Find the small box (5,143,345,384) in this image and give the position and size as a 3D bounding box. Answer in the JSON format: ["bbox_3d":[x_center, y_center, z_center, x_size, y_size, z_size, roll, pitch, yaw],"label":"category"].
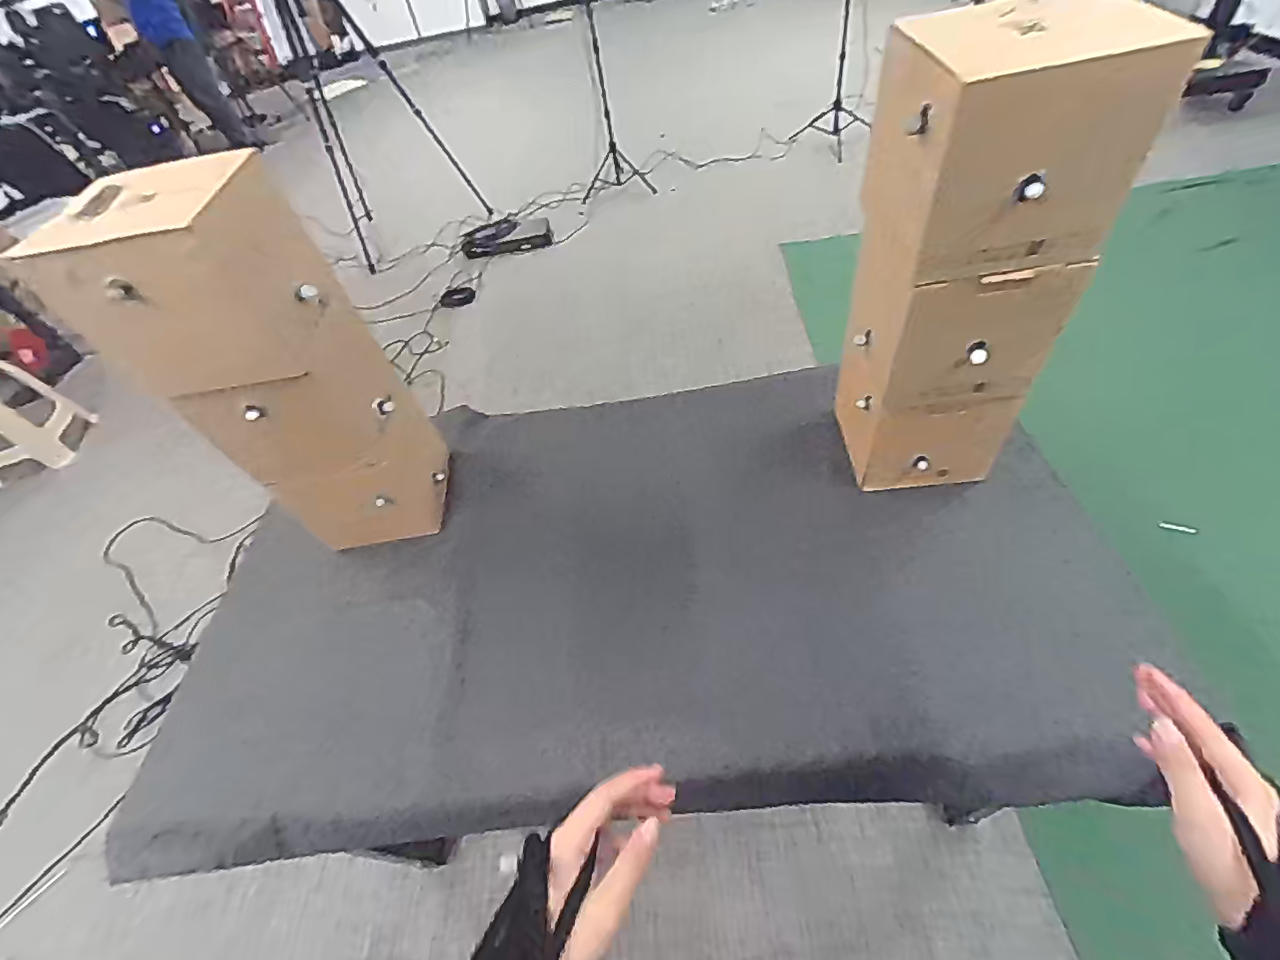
[{"bbox_3d":[-0.457,-0.220,0.570,0.179,0.176,0.168,-8,52,3],"label":"small box"}]

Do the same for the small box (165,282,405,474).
[{"bbox_3d":[-0.438,-0.126,0.704,0.179,0.176,0.168,-10,53,1],"label":"small box"}]

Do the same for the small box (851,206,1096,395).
[{"bbox_3d":[0.355,-0.212,0.620,0.168,0.176,0.179,-5,52,7],"label":"small box"}]

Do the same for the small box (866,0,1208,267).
[{"bbox_3d":[0.323,-0.312,0.493,0.168,0.176,0.179,-6,51,6],"label":"small box"}]

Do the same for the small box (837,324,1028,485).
[{"bbox_3d":[0.382,-0.116,0.750,0.168,0.176,0.179,-6,52,7],"label":"small box"}]
